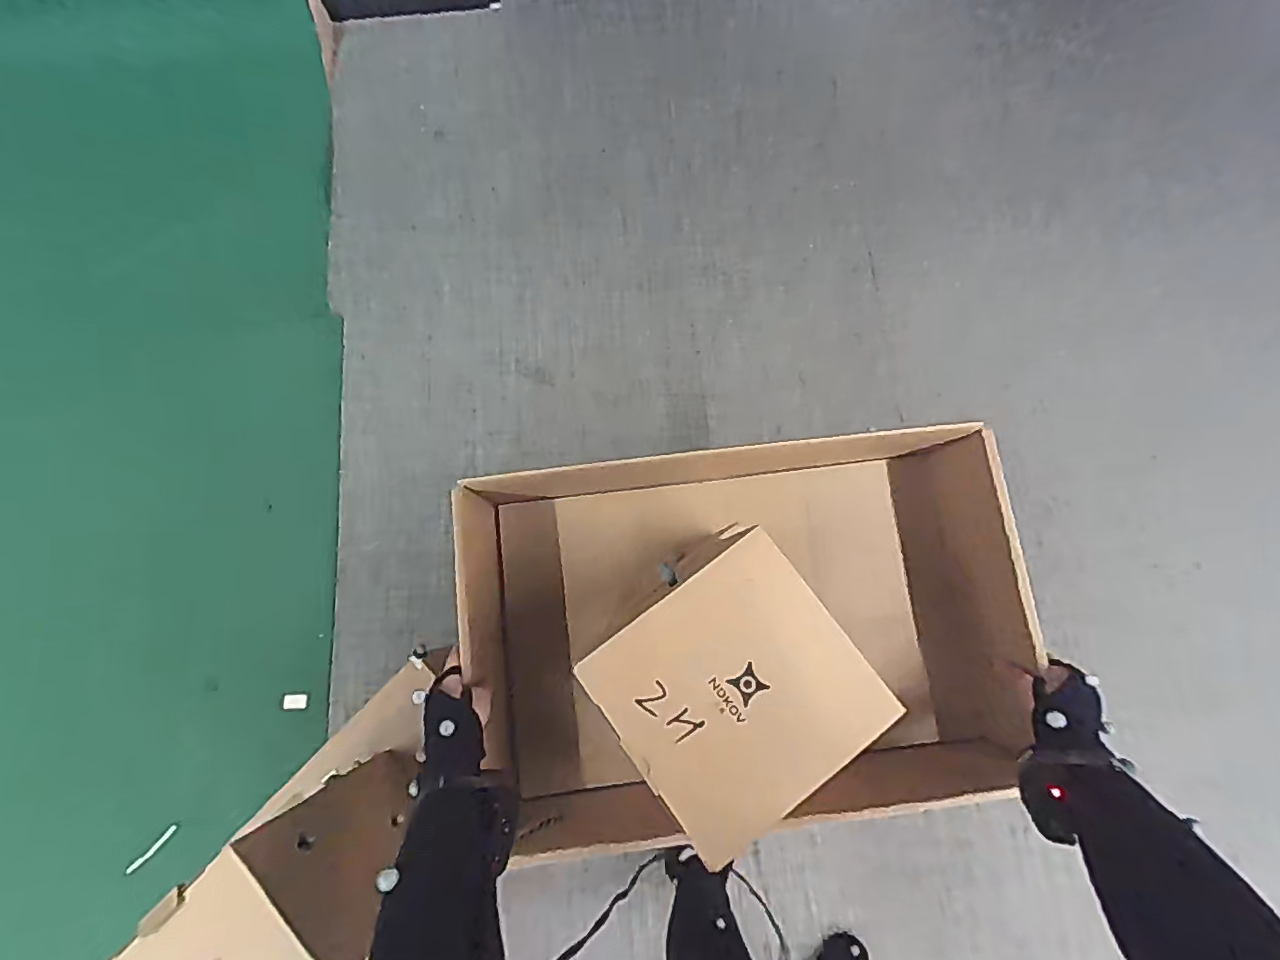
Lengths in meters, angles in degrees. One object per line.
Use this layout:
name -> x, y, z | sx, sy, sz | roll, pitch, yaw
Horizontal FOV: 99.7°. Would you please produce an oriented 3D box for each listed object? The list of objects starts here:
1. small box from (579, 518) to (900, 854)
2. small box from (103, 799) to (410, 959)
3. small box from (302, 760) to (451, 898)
small box -> 0.070, 0.154, 0.462 | 0.179, 0.176, 0.168 | -36, 81, -6
small box -> -0.388, 0.477, 0.574 | 0.168, 0.176, 0.179 | -44, 81, -8
small box -> -0.393, 0.512, 0.733 | 0.168, 0.176, 0.179 | -41, 80, -8
